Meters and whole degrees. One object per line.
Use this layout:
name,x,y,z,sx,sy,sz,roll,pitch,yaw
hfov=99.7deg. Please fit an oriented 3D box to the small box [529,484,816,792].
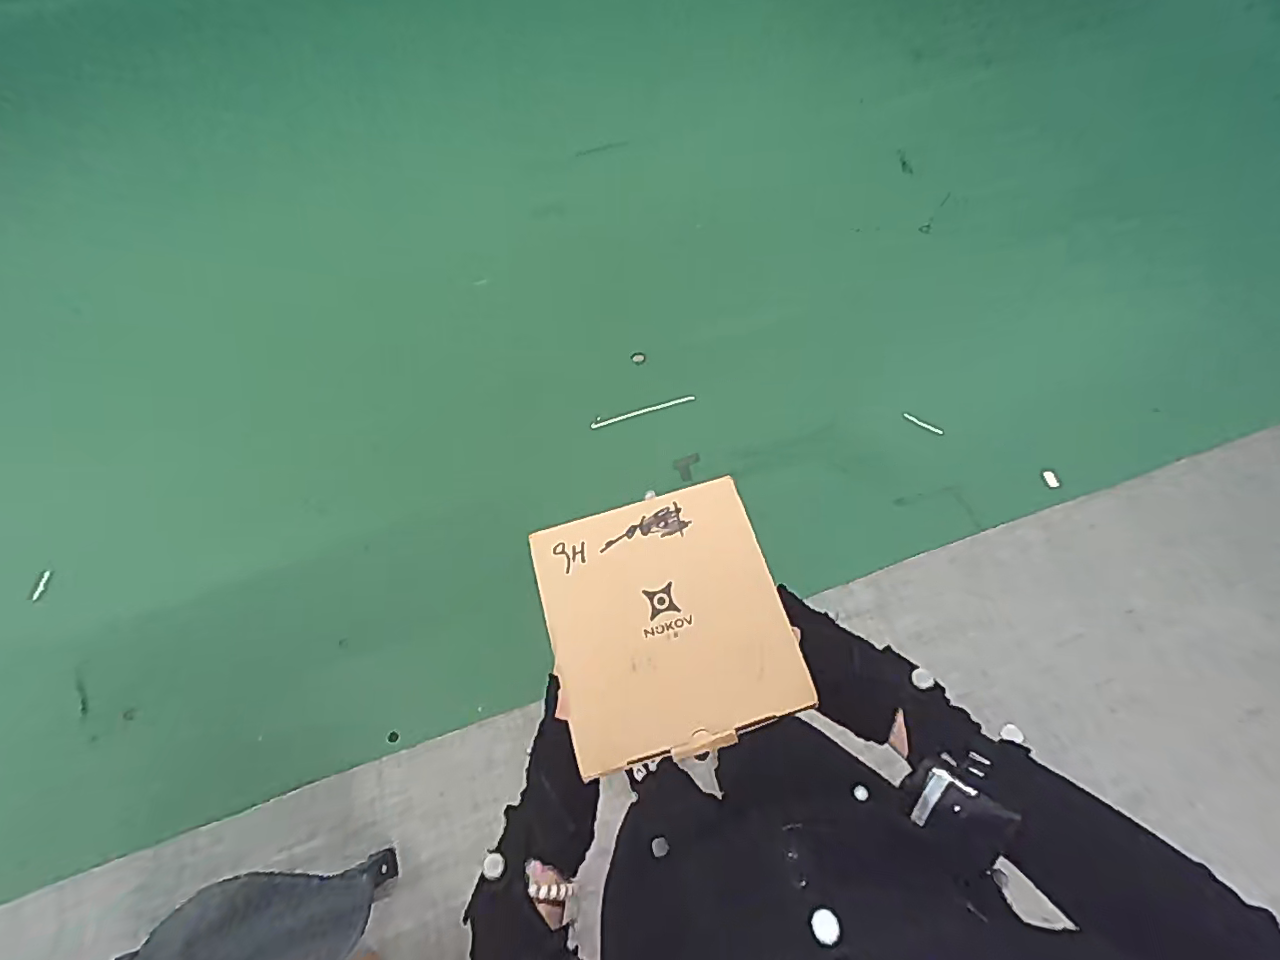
small box,0.022,0.128,0.453,0.168,0.176,0.179,-16,69,-3
